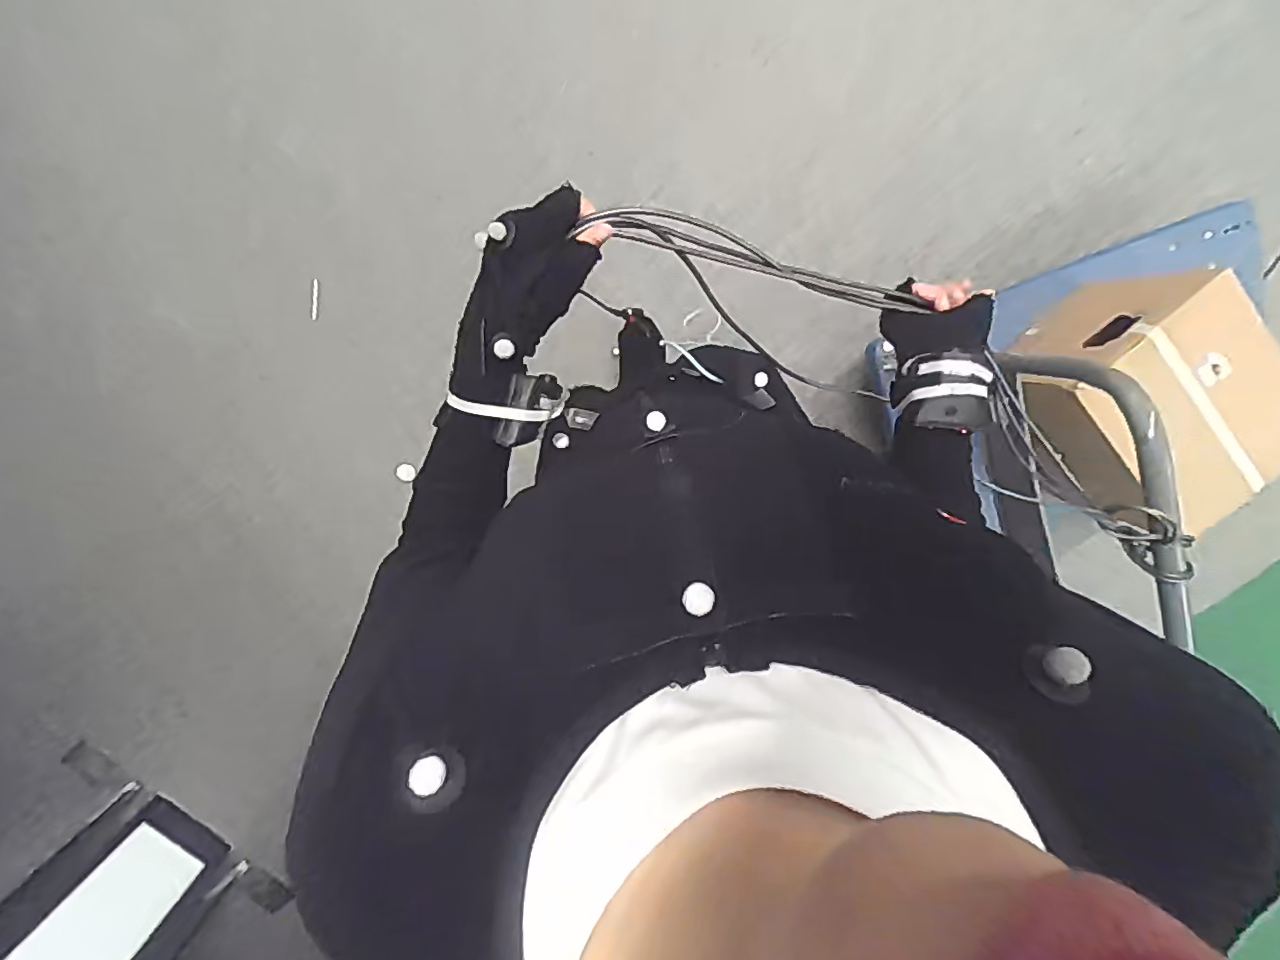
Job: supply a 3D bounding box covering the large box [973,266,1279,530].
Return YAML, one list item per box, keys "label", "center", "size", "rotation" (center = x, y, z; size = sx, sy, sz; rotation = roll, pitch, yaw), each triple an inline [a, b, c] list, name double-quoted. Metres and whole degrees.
- label: "large box"
  center: [1.021, -0.171, 1.138]
  size: [0.320, 0.320, 0.408]
  rotation: [-42, 100, 9]
